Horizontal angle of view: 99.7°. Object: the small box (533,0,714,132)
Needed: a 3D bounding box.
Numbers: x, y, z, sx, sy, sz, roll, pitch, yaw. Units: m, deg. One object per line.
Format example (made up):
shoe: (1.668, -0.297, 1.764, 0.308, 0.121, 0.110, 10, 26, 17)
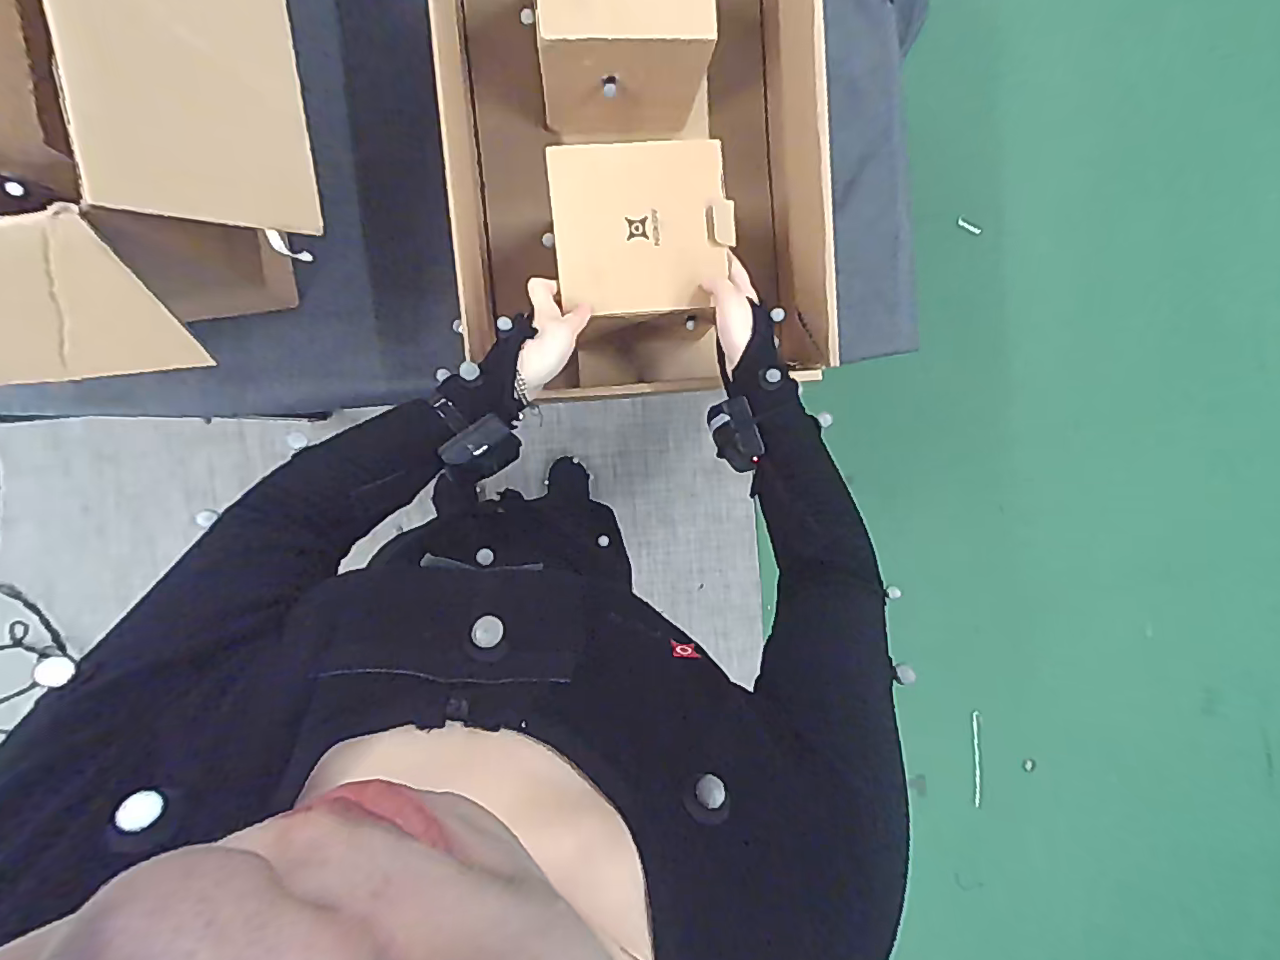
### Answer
small box: (-0.024, -0.511, 0.596, 0.179, 0.176, 0.168, -5, 98, -5)
